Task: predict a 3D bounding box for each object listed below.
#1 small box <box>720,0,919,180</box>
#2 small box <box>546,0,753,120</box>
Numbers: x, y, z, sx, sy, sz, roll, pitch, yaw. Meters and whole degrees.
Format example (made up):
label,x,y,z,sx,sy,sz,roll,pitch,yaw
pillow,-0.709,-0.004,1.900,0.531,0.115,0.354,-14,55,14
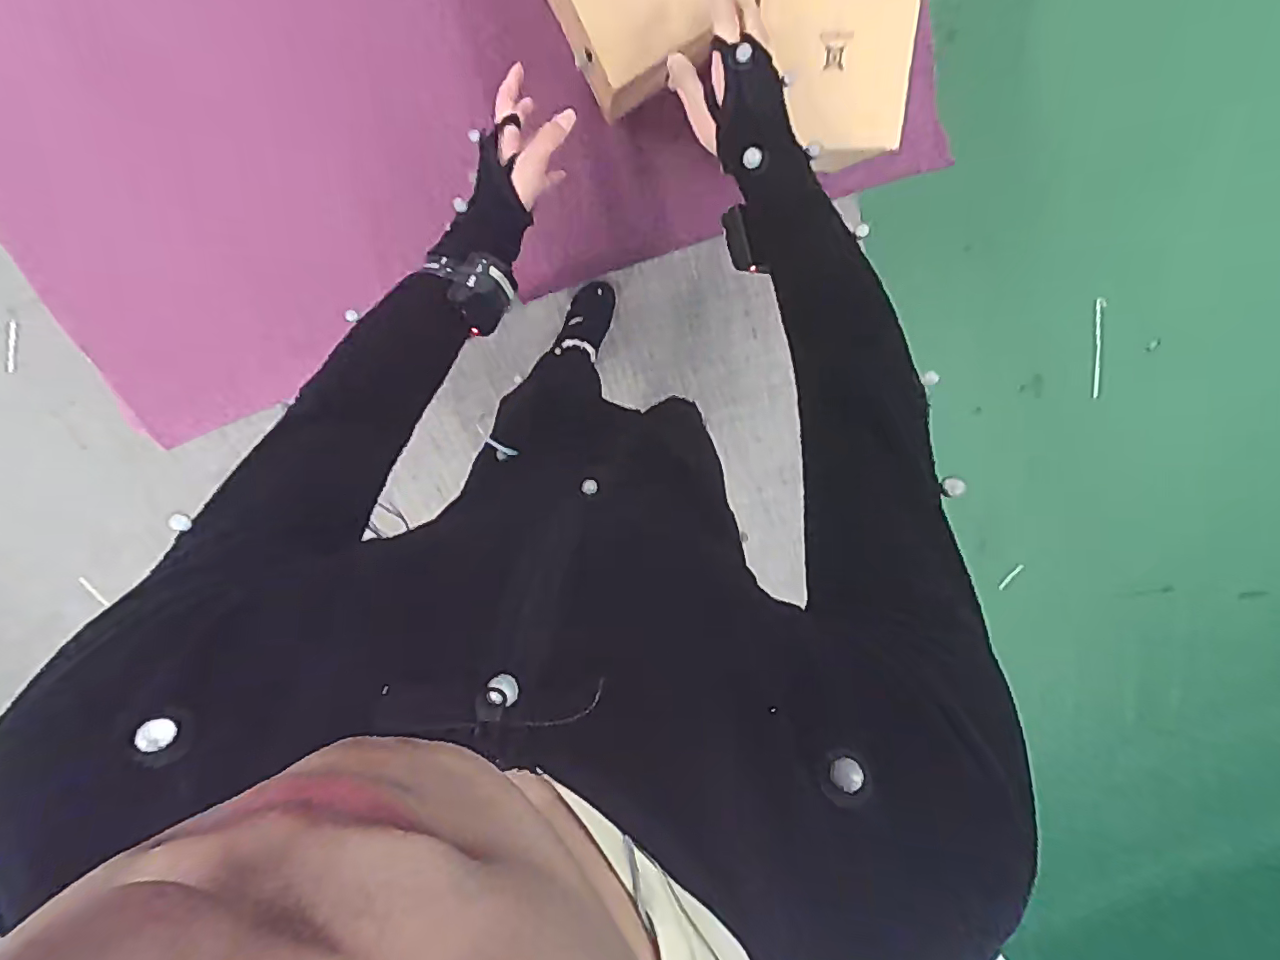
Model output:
label,x,y,z,sx,sy,sz,roll,pitch,yaw
small box,0.192,-0.458,0.629,0.168,0.176,0.179,-2,111,-4
small box,-0.003,-0.524,0.583,0.168,0.176,0.179,-28,112,6
